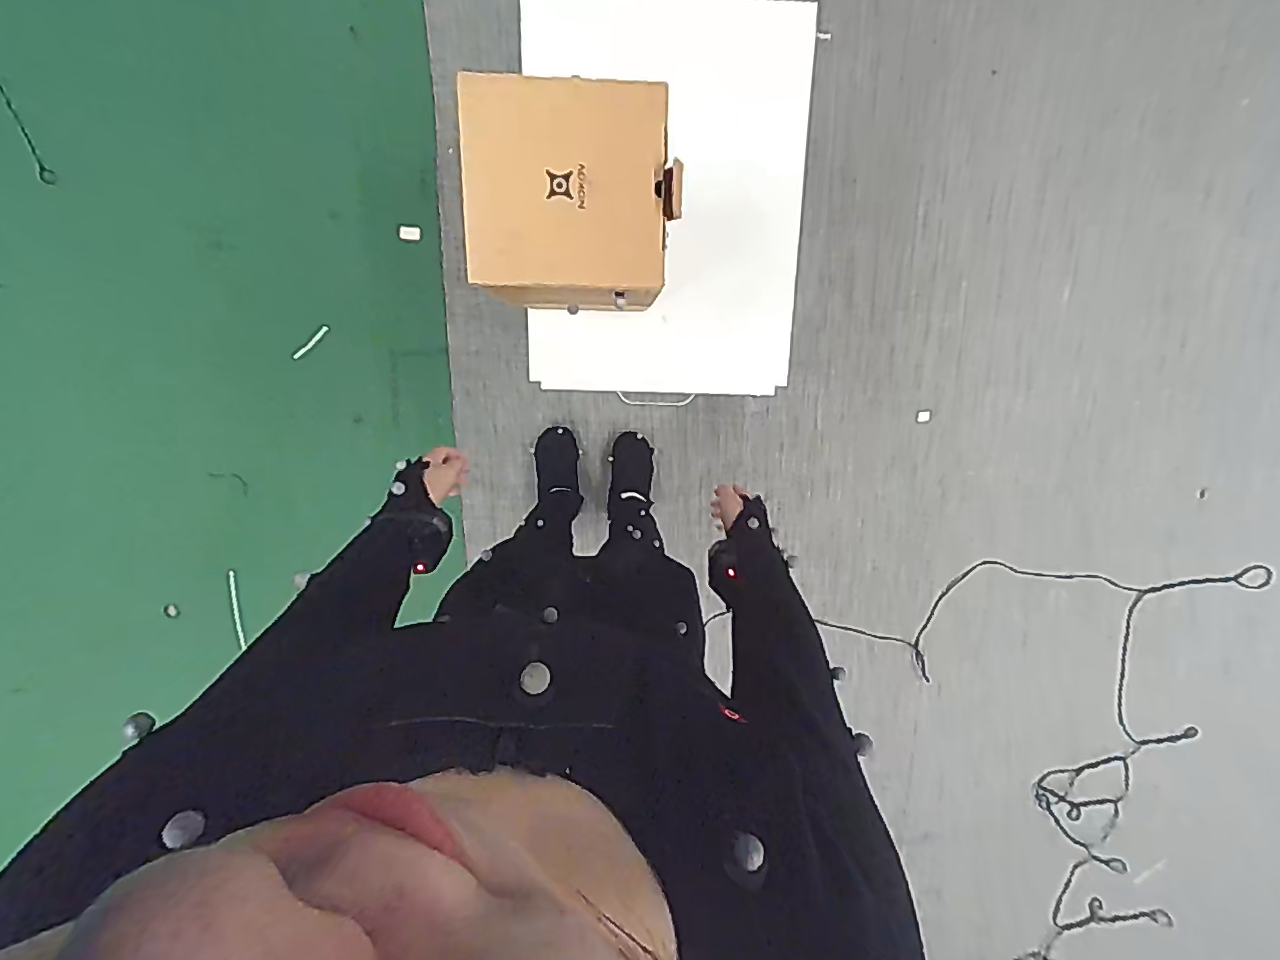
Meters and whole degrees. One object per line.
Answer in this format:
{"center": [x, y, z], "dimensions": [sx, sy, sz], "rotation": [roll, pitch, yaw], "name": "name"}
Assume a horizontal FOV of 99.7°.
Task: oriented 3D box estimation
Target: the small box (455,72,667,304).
{"center": [-0.069, -0.268, 0.538], "dimensions": [0.179, 0.176, 0.168], "rotation": [0, 103, -4], "name": "small box"}
